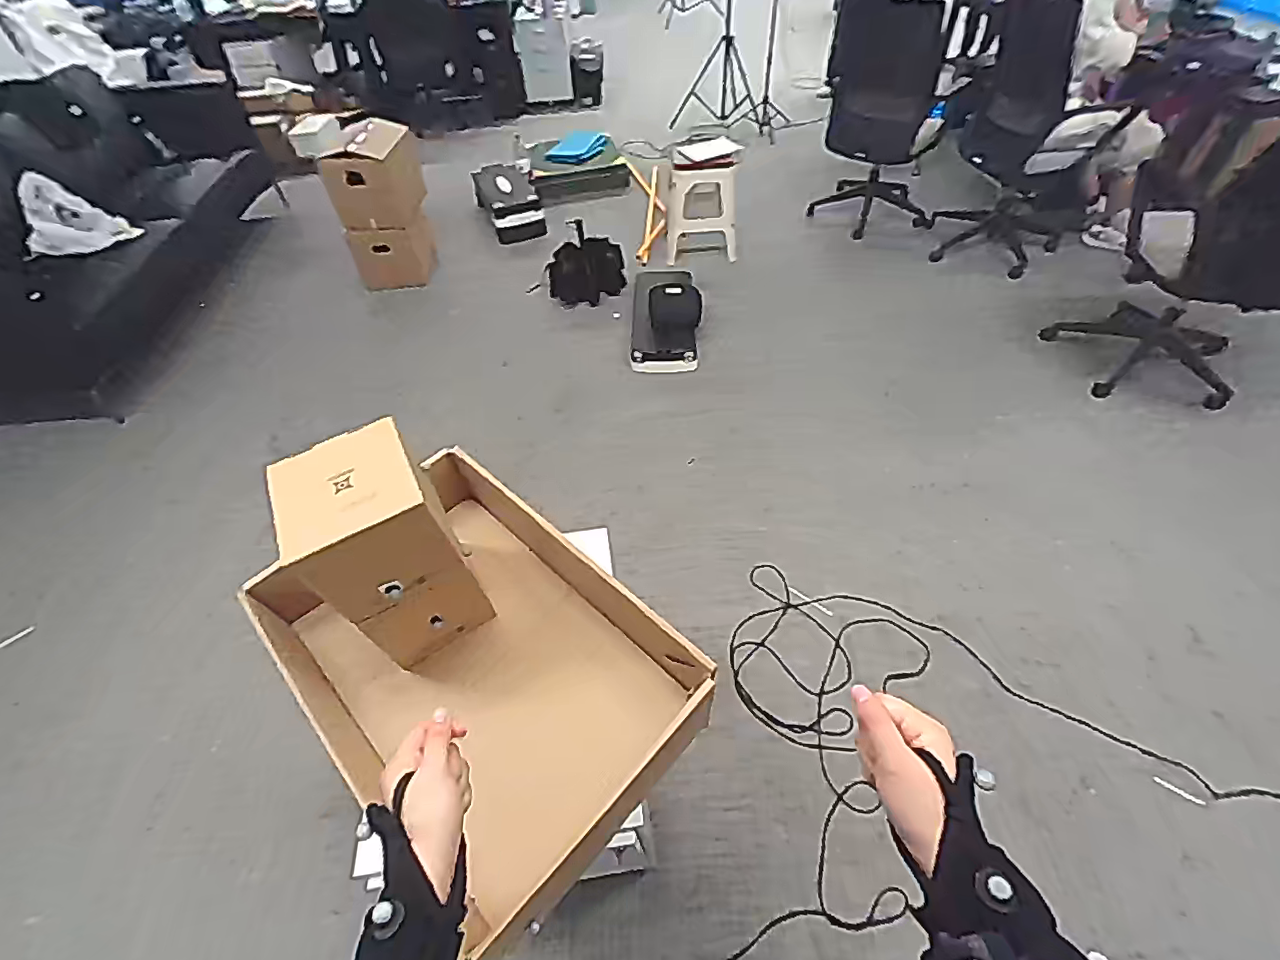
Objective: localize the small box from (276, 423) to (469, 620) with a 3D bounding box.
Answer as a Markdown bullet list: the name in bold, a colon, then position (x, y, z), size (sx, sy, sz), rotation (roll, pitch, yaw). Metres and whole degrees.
- **small box**: position (-0.361, 0.059, 0.745), size (0.168, 0.176, 0.179), rotation (-28, 55, -15)
